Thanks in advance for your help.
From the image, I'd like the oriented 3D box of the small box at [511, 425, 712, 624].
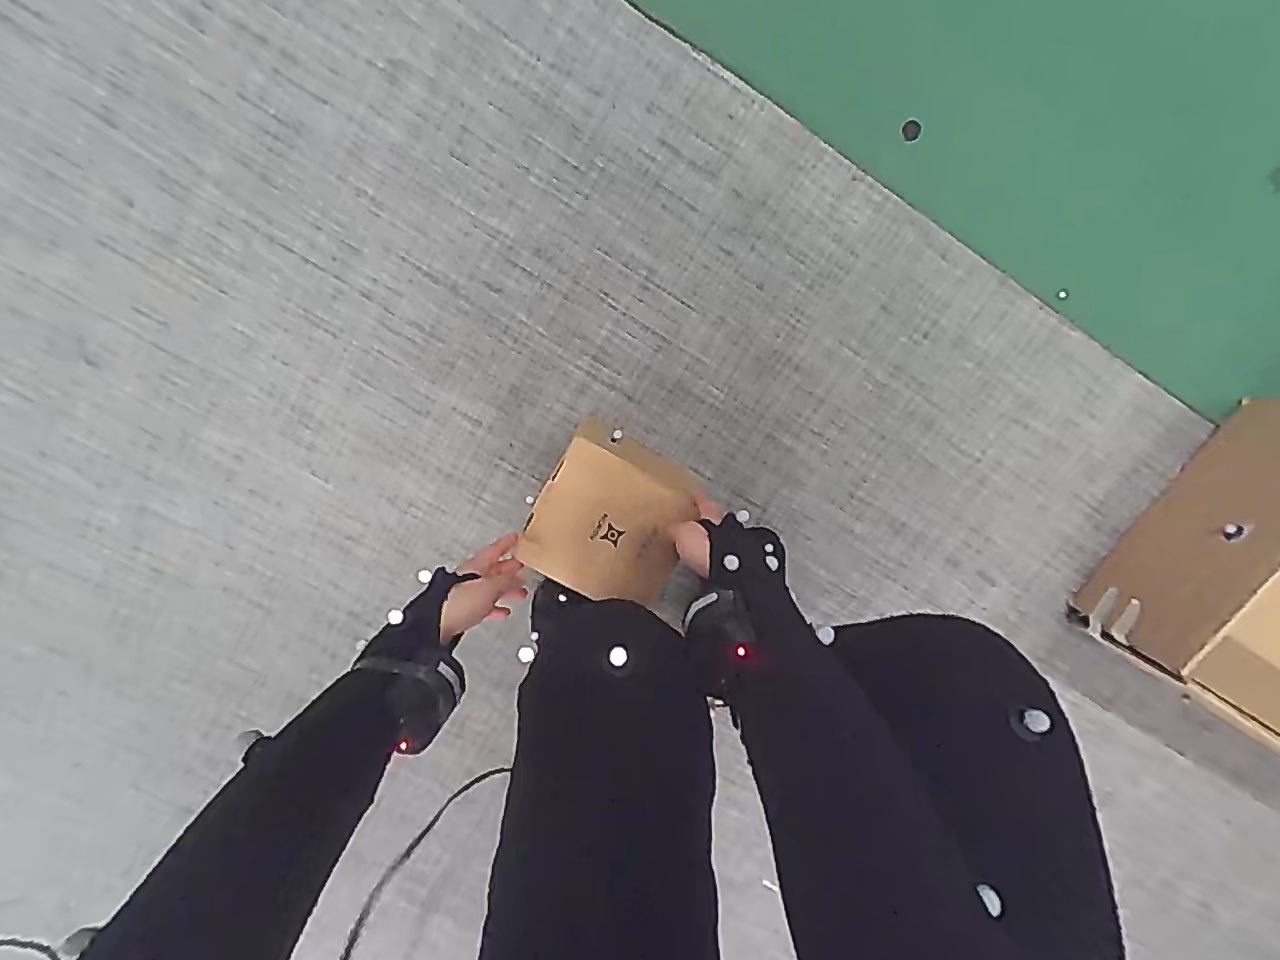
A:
[{"bbox_3d":[-0.035,0.043,0.685,0.179,0.176,0.168,28,103,-10],"label":"small box"}]
